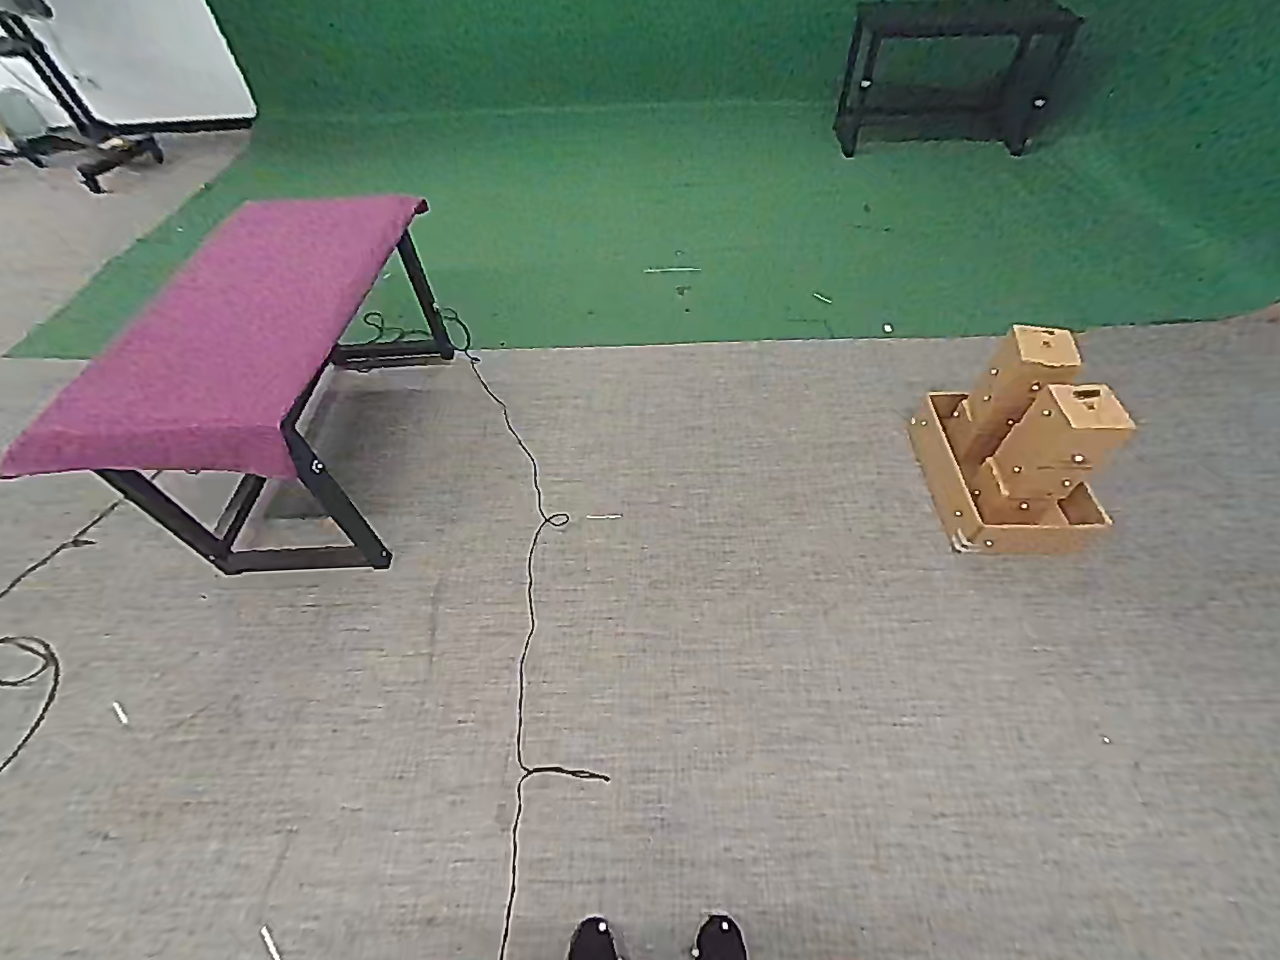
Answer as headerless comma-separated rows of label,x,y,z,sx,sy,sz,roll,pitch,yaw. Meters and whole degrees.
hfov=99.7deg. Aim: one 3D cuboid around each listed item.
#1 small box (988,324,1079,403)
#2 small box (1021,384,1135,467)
small box,1.243,-0.366,1.721,0.168,0.176,0.179,10,55,10
small box,1.247,-0.158,1.560,0.168,0.176,0.179,1,52,4
